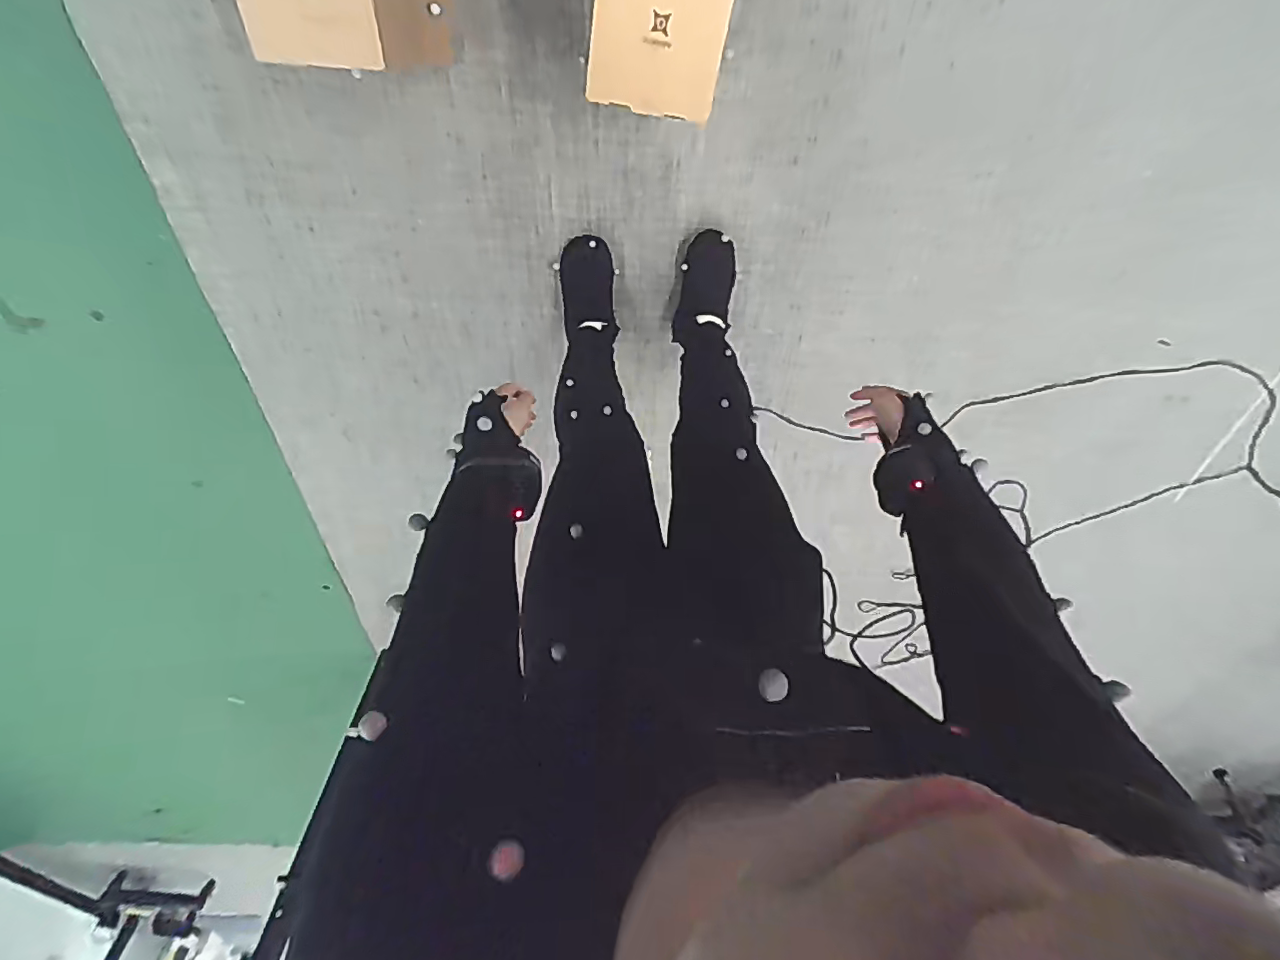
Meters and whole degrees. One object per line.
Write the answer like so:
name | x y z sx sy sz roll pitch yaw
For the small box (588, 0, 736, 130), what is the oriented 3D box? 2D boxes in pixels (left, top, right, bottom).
small box | 0.026 -0.599 0.725 0.168 0.176 0.179 8 130 -6

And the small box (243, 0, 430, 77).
small box | -0.391 -0.638 0.696 0.168 0.176 0.179 3 130 -1
